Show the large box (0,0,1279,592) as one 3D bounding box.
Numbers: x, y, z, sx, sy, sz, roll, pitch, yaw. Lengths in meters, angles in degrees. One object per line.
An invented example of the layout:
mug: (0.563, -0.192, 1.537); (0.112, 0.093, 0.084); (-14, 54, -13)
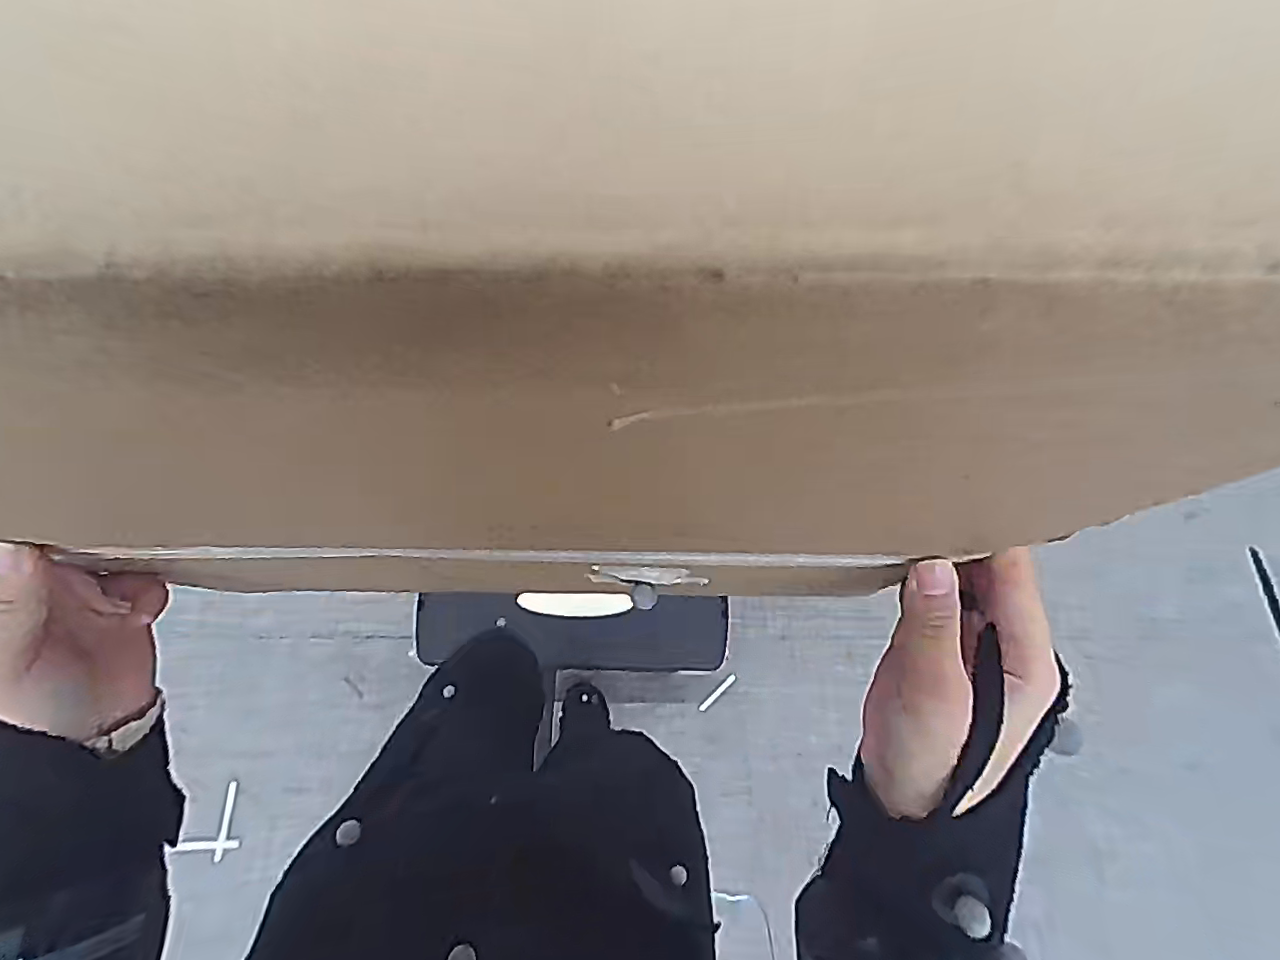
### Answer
large box: (-0.065, -0.119, 0.269); (0.408, 0.320, 0.320); (0, 72, 1)
